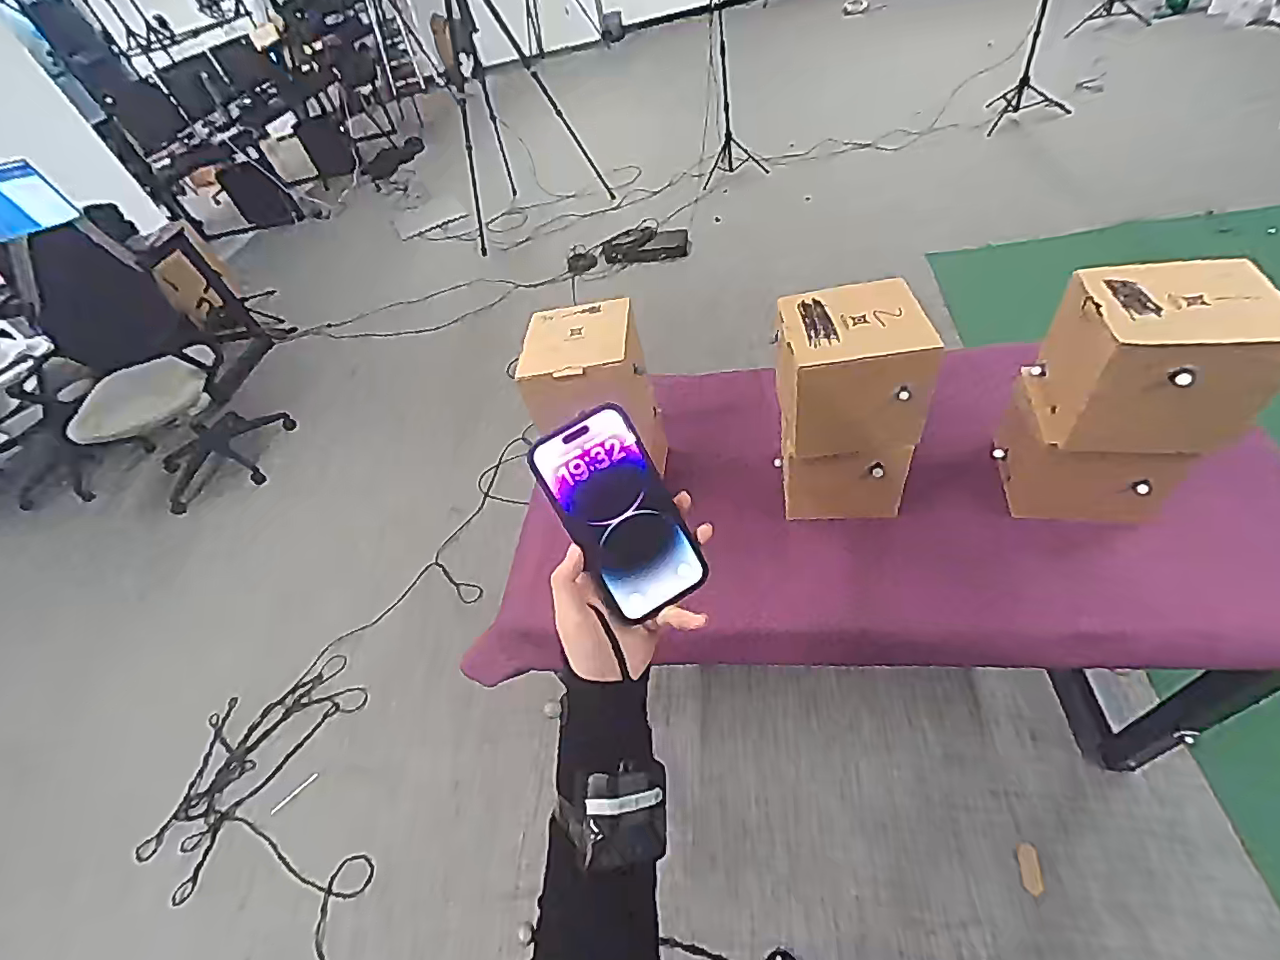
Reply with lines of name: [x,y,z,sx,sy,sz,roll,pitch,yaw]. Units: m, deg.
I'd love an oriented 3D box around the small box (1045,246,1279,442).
small box: [0.631,-0.161,0.662,0.179,0.176,0.168,2,50,17]

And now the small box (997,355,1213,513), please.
small box: [0.658,-0.066,0.794,0.179,0.176,0.168,2,50,18]

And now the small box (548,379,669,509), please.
small box: [-0.046,-0.059,0.988,0.168,0.176,0.179,-2,49,14]

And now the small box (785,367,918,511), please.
small box: [0.330,-0.062,0.882,0.179,0.176,0.168,-3,49,14]

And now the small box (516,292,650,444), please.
small box: [-0.080,-0.172,0.873,0.168,0.176,0.179,-6,49,10]
